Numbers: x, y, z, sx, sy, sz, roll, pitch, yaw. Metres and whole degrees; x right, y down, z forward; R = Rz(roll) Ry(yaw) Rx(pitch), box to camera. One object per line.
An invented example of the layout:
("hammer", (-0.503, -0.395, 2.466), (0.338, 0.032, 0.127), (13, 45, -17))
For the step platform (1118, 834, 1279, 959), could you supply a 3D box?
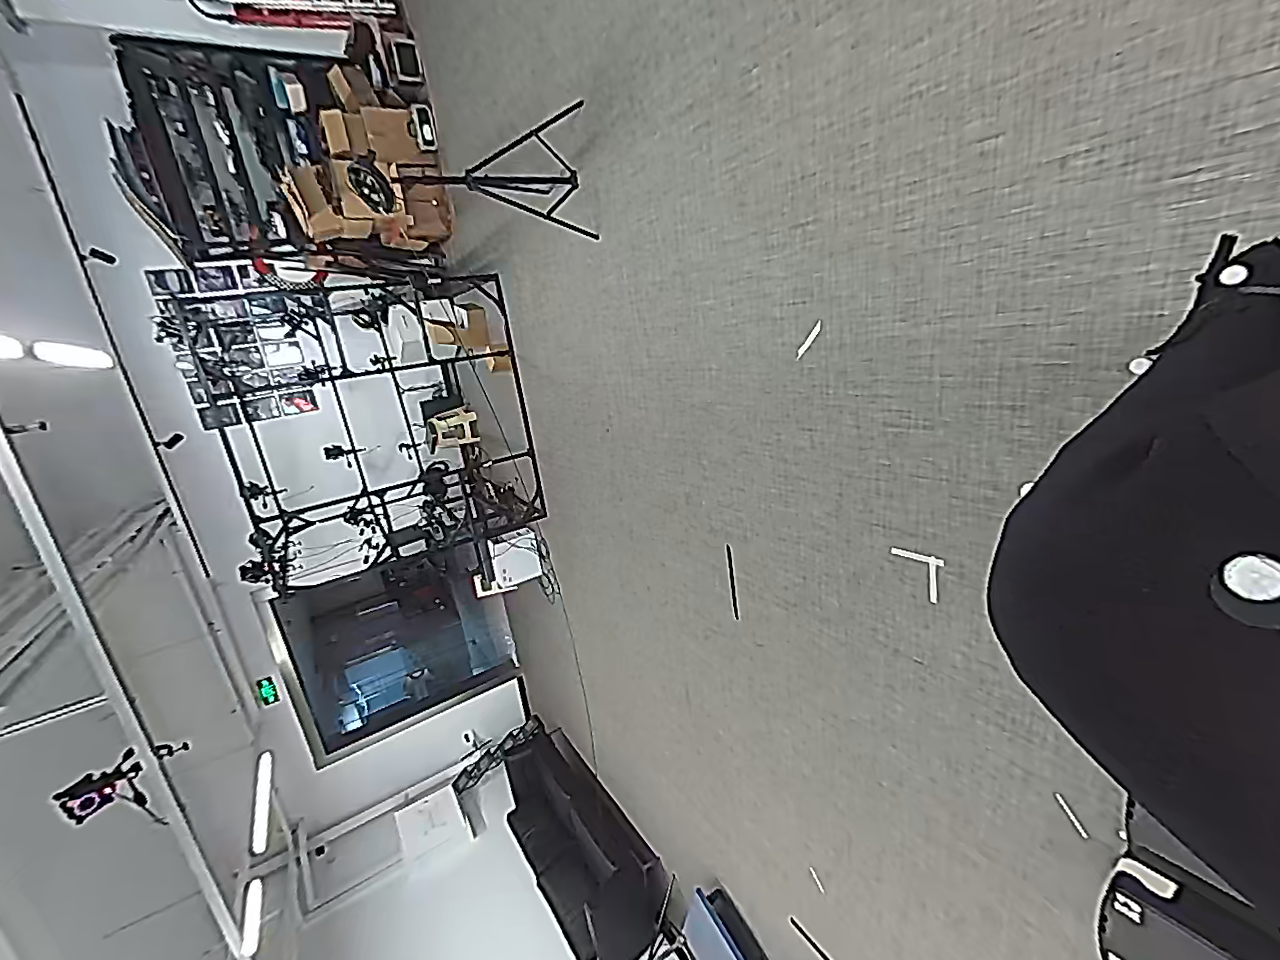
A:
("step platform", (1.396, 1.072, 1.064), (0.684, 0.204, 0.286), (17, 119, 58))
